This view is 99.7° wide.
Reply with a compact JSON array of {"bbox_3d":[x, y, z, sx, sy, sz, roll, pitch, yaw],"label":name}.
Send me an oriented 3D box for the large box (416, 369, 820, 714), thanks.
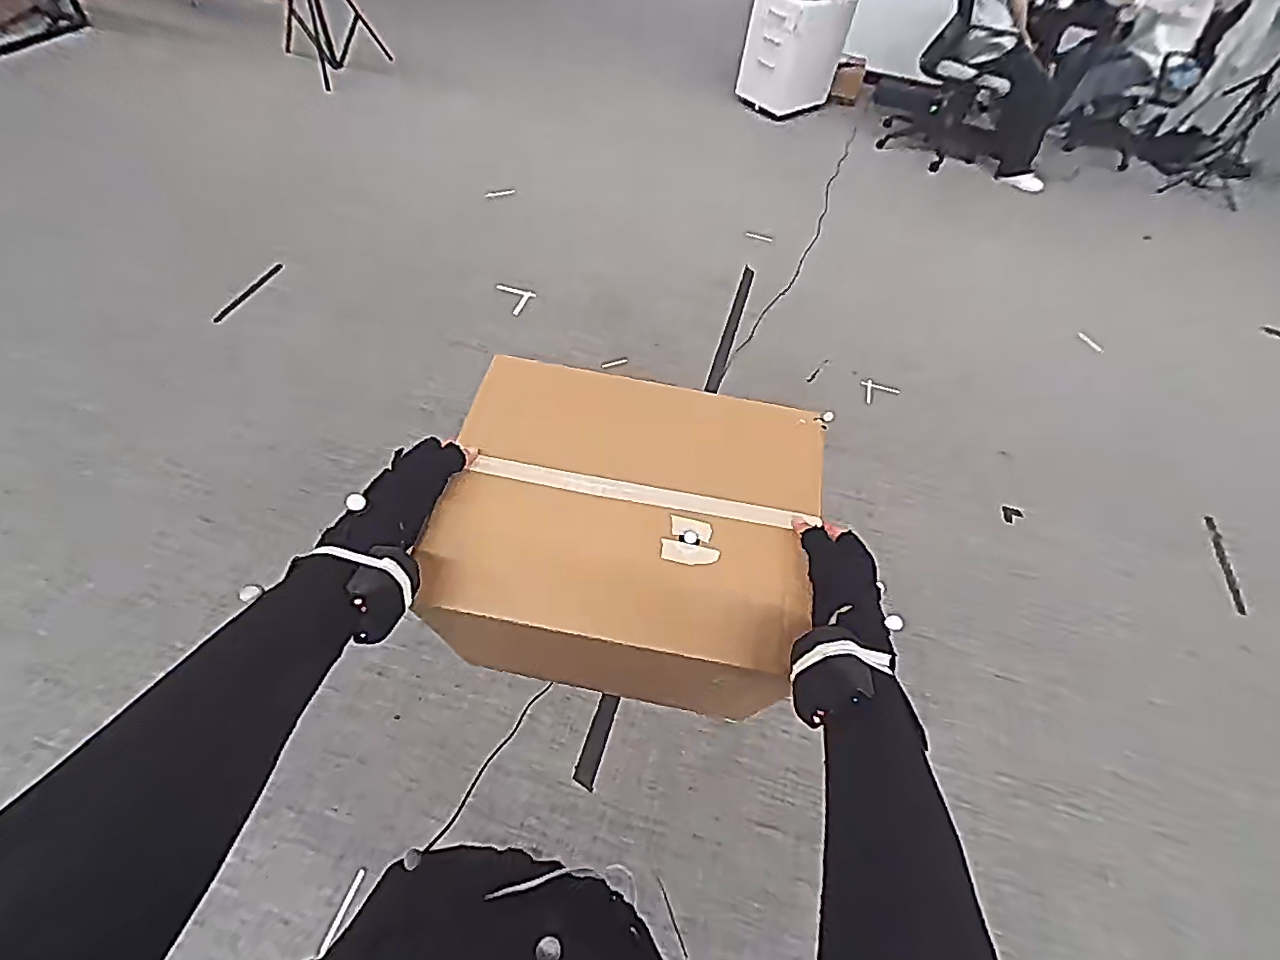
[{"bbox_3d":[-0.012,0.097,0.721,0.408,0.320,0.320,11,61,2],"label":"large box"}]
